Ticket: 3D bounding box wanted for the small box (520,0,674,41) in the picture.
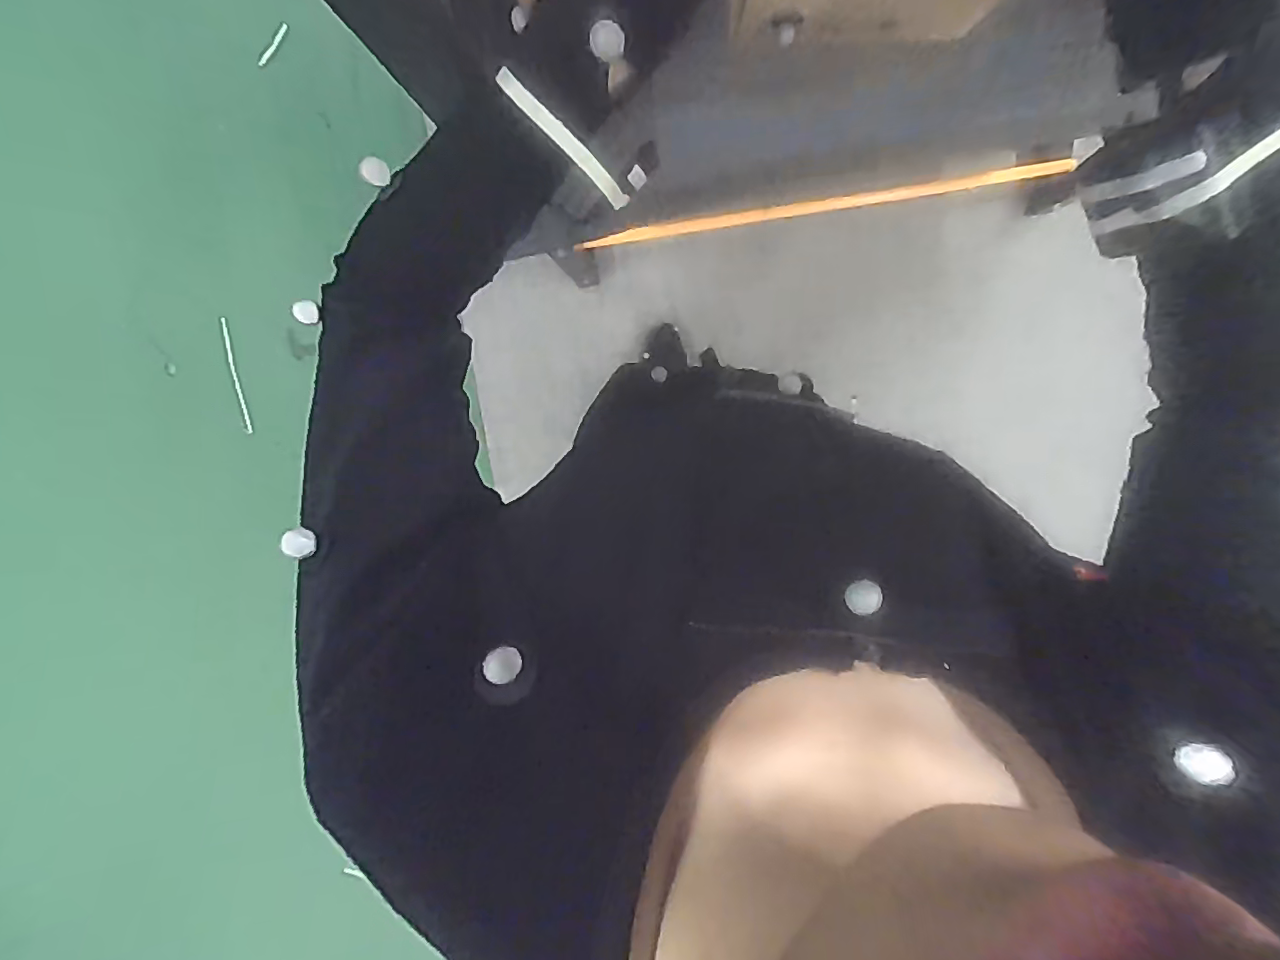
[{"bbox_3d":[-0.052,-0.582,0.540,0.168,0.176,0.179,-5,100,3],"label":"small box"}]
